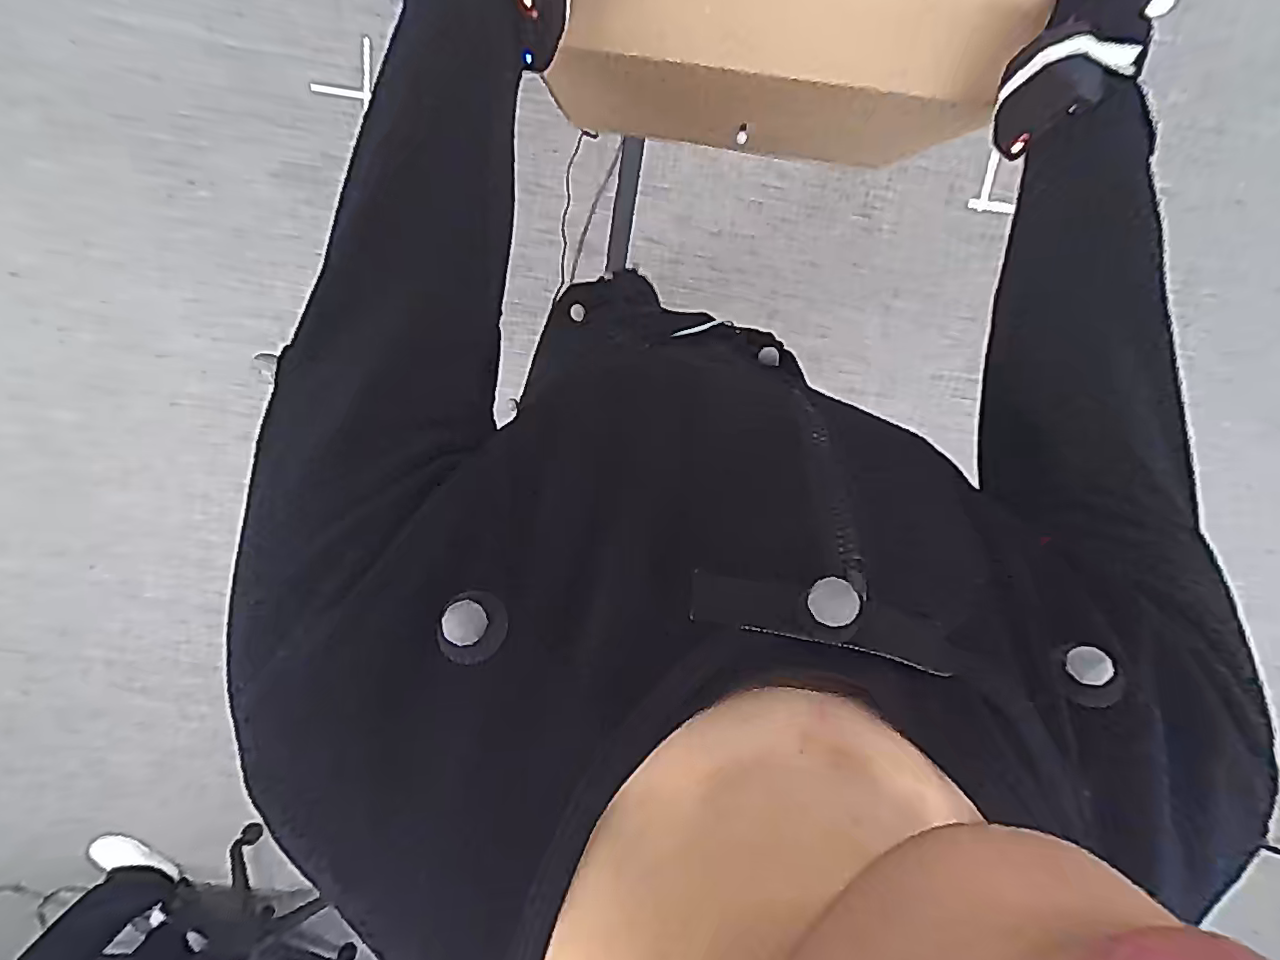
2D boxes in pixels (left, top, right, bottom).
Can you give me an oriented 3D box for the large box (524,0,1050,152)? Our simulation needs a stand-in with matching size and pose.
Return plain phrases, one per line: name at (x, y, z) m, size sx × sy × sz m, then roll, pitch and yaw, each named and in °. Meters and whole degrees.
large box at (0.130, -0.525, 0.506) m, size 0.408 × 0.320 × 0.320 m, roll 8°, pitch 112°, yaw 0°
